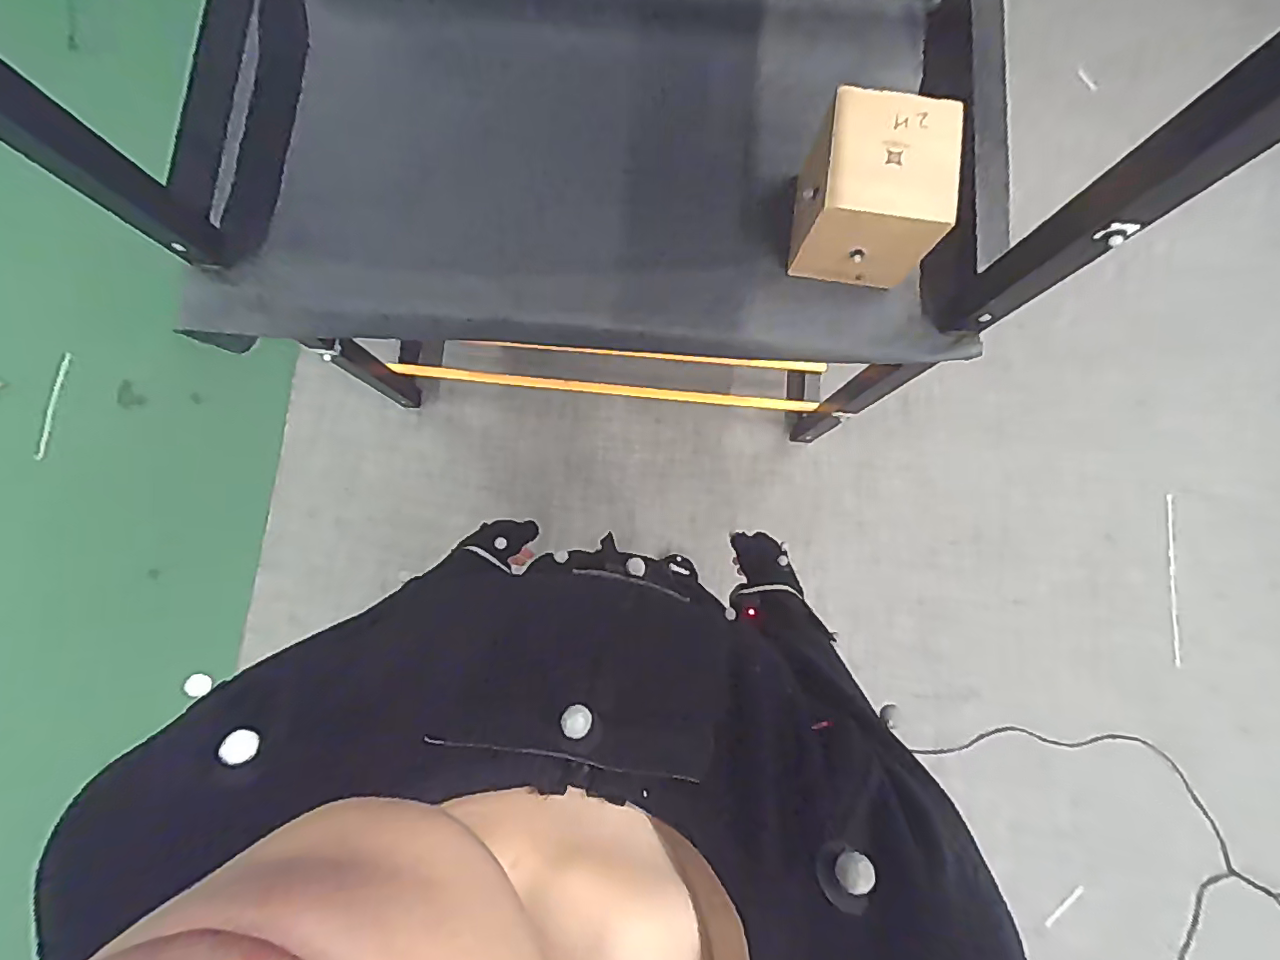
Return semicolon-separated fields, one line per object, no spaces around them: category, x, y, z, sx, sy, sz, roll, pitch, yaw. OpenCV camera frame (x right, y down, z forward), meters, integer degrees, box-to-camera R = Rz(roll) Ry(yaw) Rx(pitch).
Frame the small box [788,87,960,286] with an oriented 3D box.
small box;0.316;-0.399;0.762;0.168;0.176;0.179;9;81;0
